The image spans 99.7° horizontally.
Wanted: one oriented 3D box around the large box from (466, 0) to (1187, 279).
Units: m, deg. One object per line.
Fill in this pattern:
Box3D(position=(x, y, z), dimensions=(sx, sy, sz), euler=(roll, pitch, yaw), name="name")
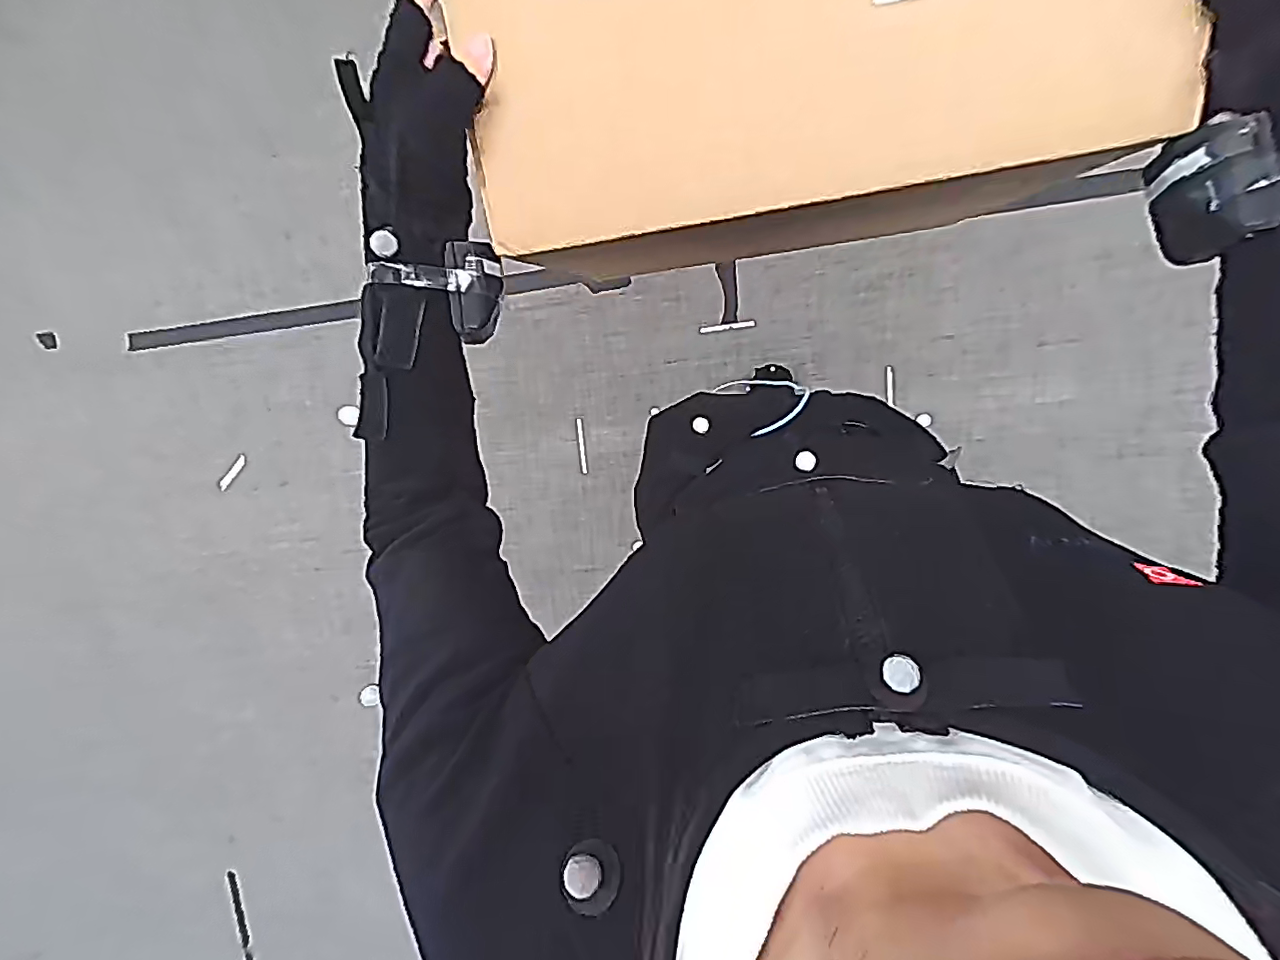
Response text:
Box3D(position=(0.102, -0.368, 0.439), dimensions=(0.408, 0.320, 0.320), euler=(-6, 107, 9), name="large box")
